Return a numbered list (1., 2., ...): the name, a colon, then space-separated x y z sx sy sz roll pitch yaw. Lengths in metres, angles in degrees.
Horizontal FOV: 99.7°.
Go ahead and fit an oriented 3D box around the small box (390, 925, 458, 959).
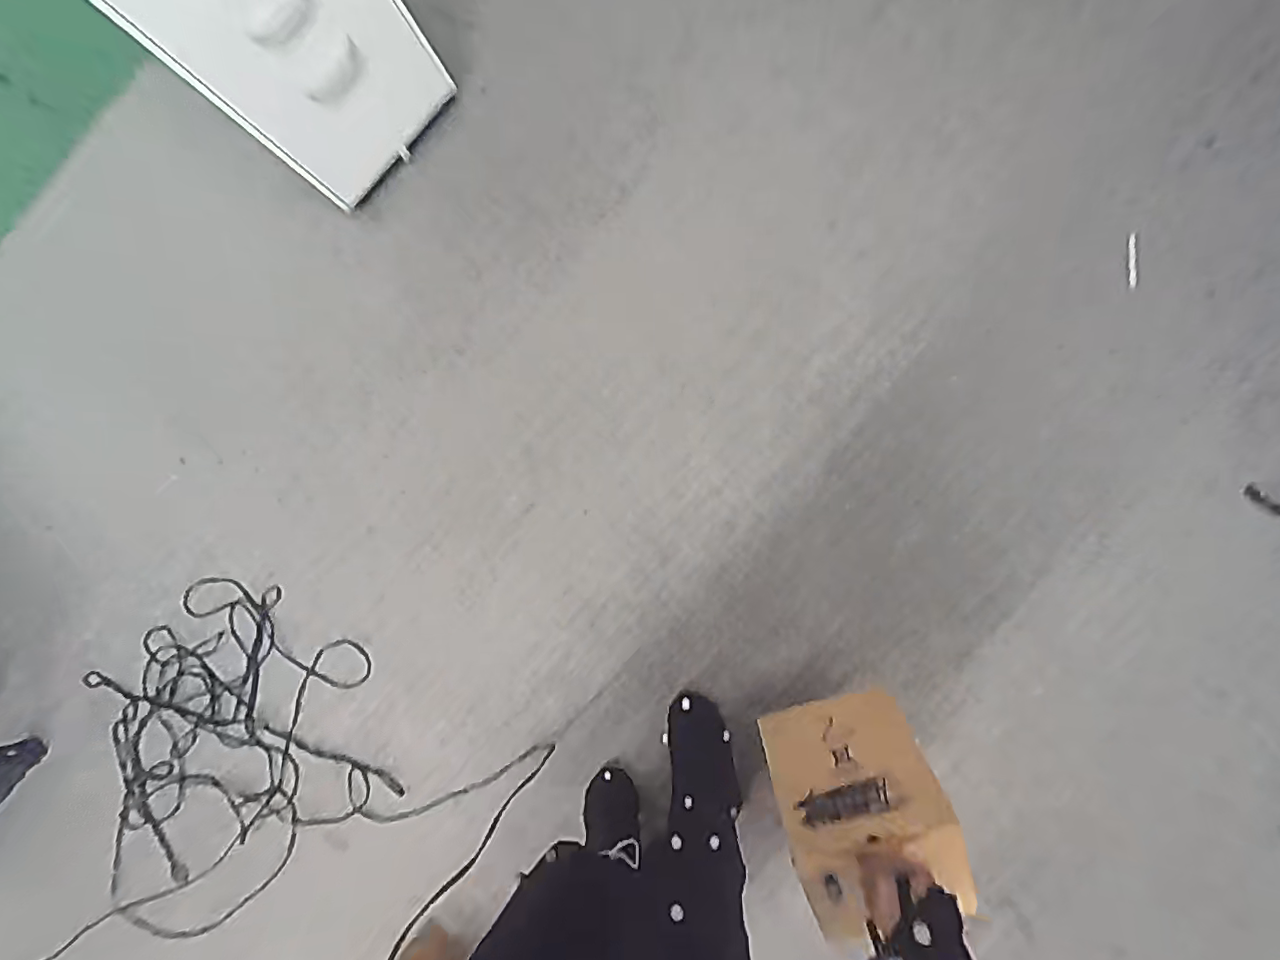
1. small box: -0.443 0.999 1.000 0.168 0.176 0.179 38 90 14
